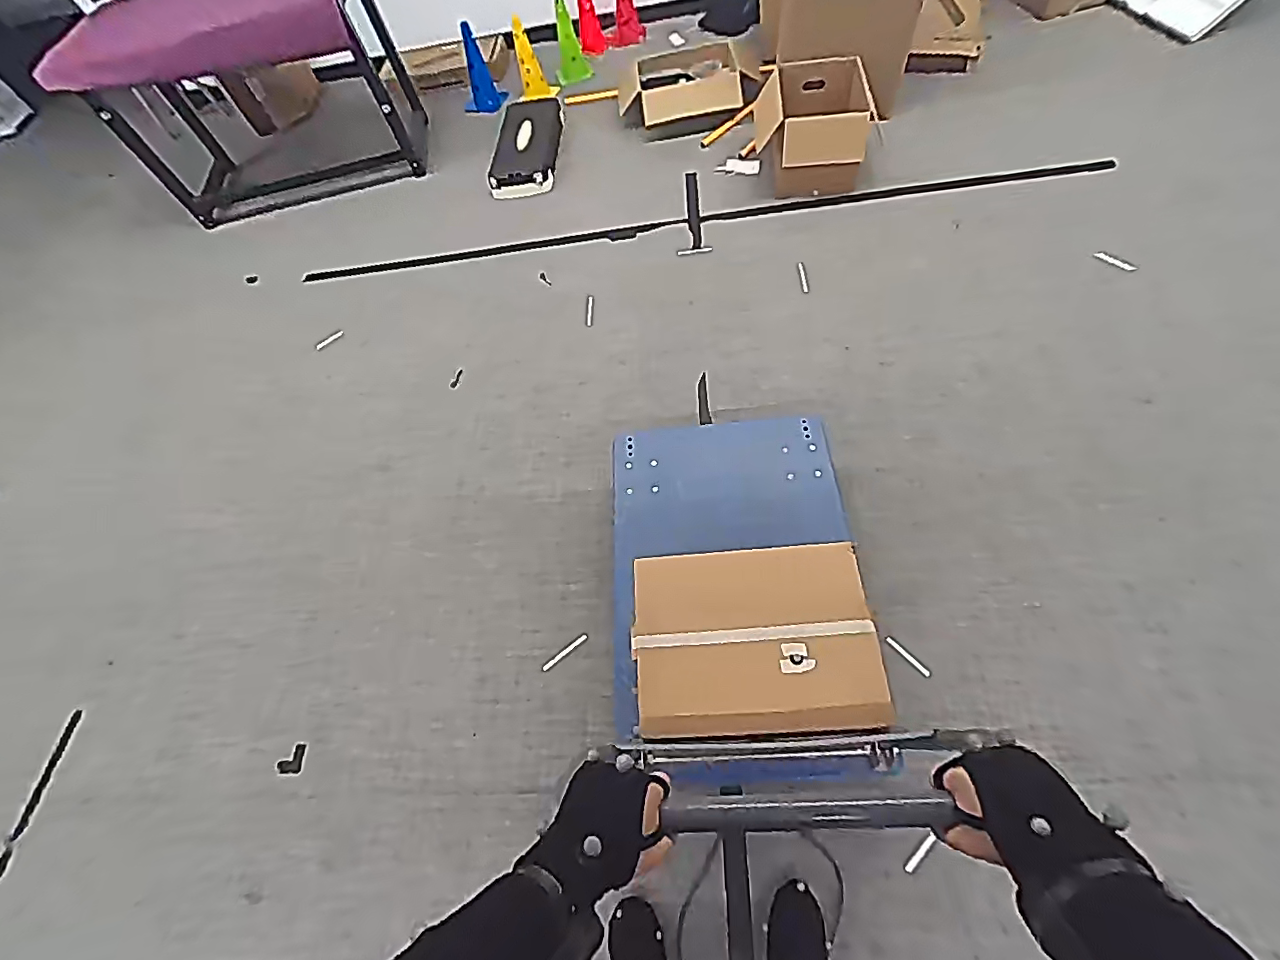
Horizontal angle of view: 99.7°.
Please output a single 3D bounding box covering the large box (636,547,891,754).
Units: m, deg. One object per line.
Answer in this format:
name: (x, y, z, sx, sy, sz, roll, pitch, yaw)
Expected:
large box: (0.213, 0.351, 1.074, 0.408, 0.320, 0.320, -6, 61, 5)
